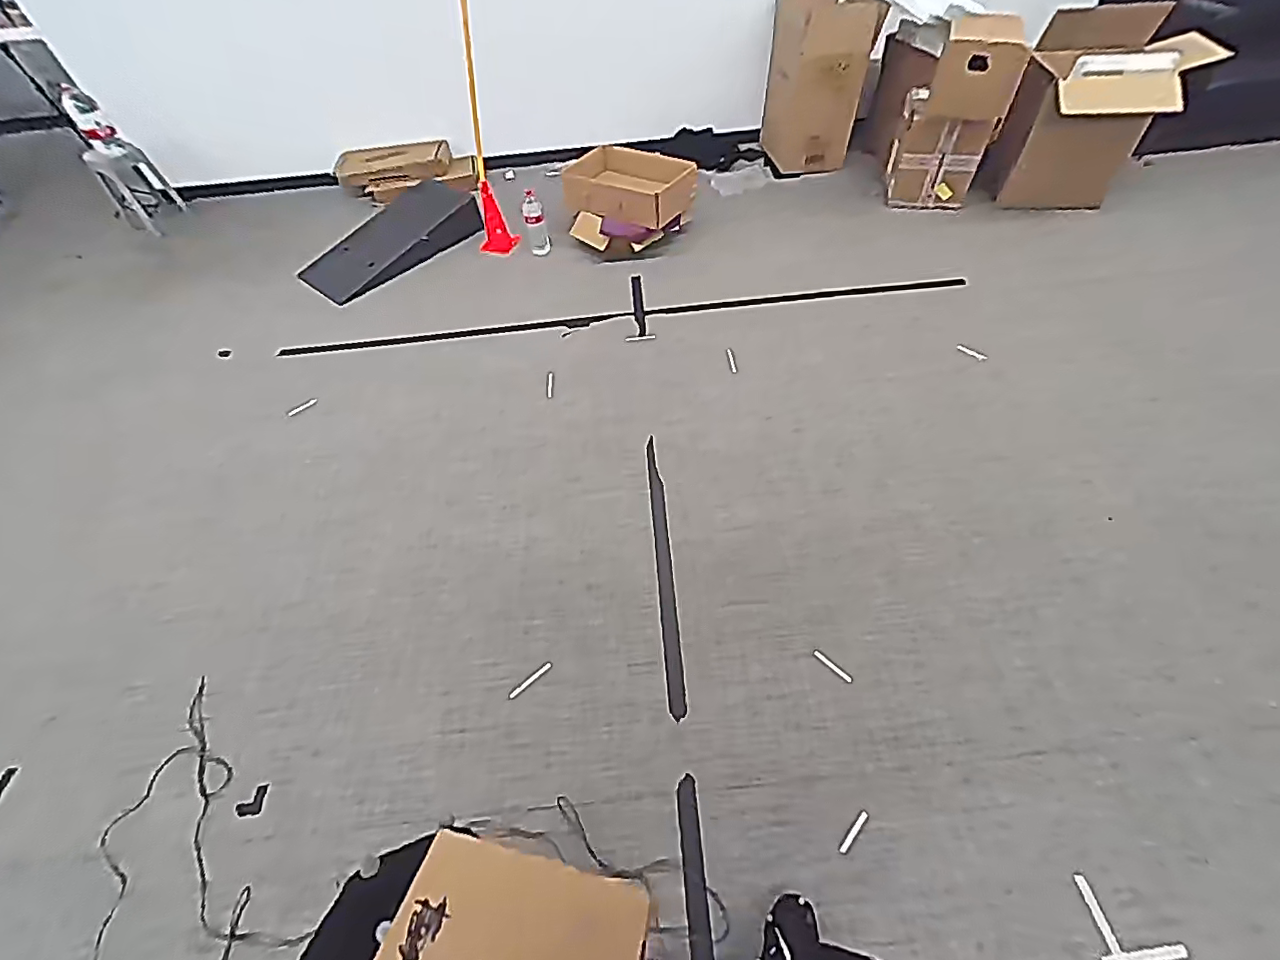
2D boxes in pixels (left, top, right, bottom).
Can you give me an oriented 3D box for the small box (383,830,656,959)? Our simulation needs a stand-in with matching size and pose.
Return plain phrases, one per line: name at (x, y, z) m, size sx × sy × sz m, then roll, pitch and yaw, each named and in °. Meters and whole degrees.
small box at (-0.098, 0.404, 0.396) m, size 0.179 × 0.176 × 0.168 m, roll 12°, pitch 31°, yaw 6°
